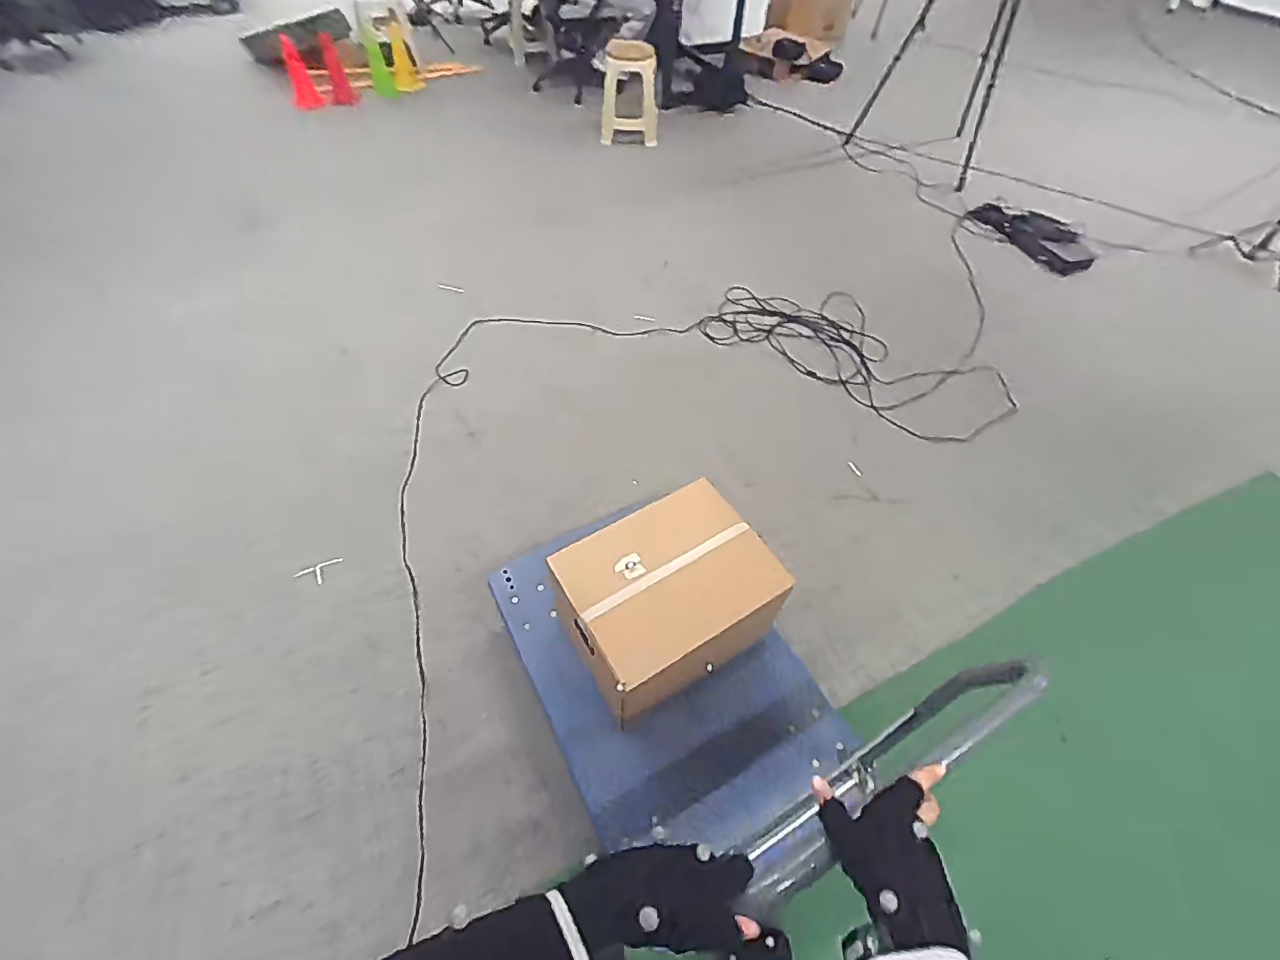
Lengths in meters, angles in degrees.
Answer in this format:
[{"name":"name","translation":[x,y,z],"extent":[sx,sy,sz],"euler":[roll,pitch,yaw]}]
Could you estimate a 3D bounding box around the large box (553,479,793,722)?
[{"name":"large box","translation":[0.062,0.270,1.215],"extent":[0.408,0.320,0.320],"euler":[-26,59,-20]}]
